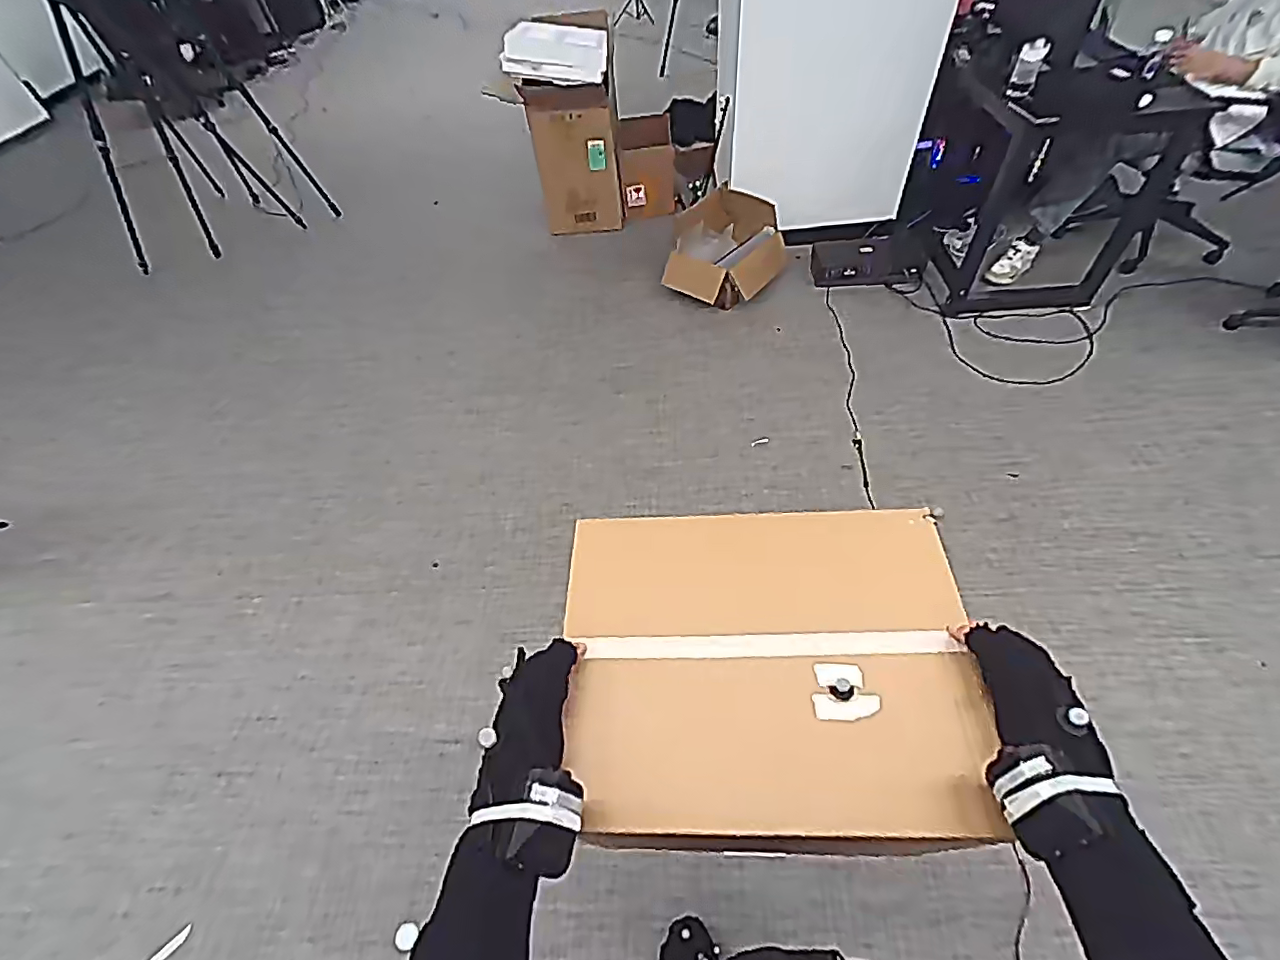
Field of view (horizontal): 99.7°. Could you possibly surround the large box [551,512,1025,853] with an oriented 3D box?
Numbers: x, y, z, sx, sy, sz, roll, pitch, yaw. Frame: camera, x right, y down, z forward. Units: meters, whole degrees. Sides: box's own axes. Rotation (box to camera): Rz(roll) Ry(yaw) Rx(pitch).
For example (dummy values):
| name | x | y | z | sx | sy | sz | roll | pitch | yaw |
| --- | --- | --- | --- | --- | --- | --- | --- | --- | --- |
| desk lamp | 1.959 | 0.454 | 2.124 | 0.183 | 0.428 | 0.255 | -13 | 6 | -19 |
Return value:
| name | x | y | z | sx | sy | sz | roll | pitch | yaw |
| --- | --- | --- | --- | --- | --- | --- | --- | --- | --- |
| large box | 0.131 | 0.258 | 0.660 | 0.408 | 0.320 | 0.320 | -2 | 53 | 5 |
